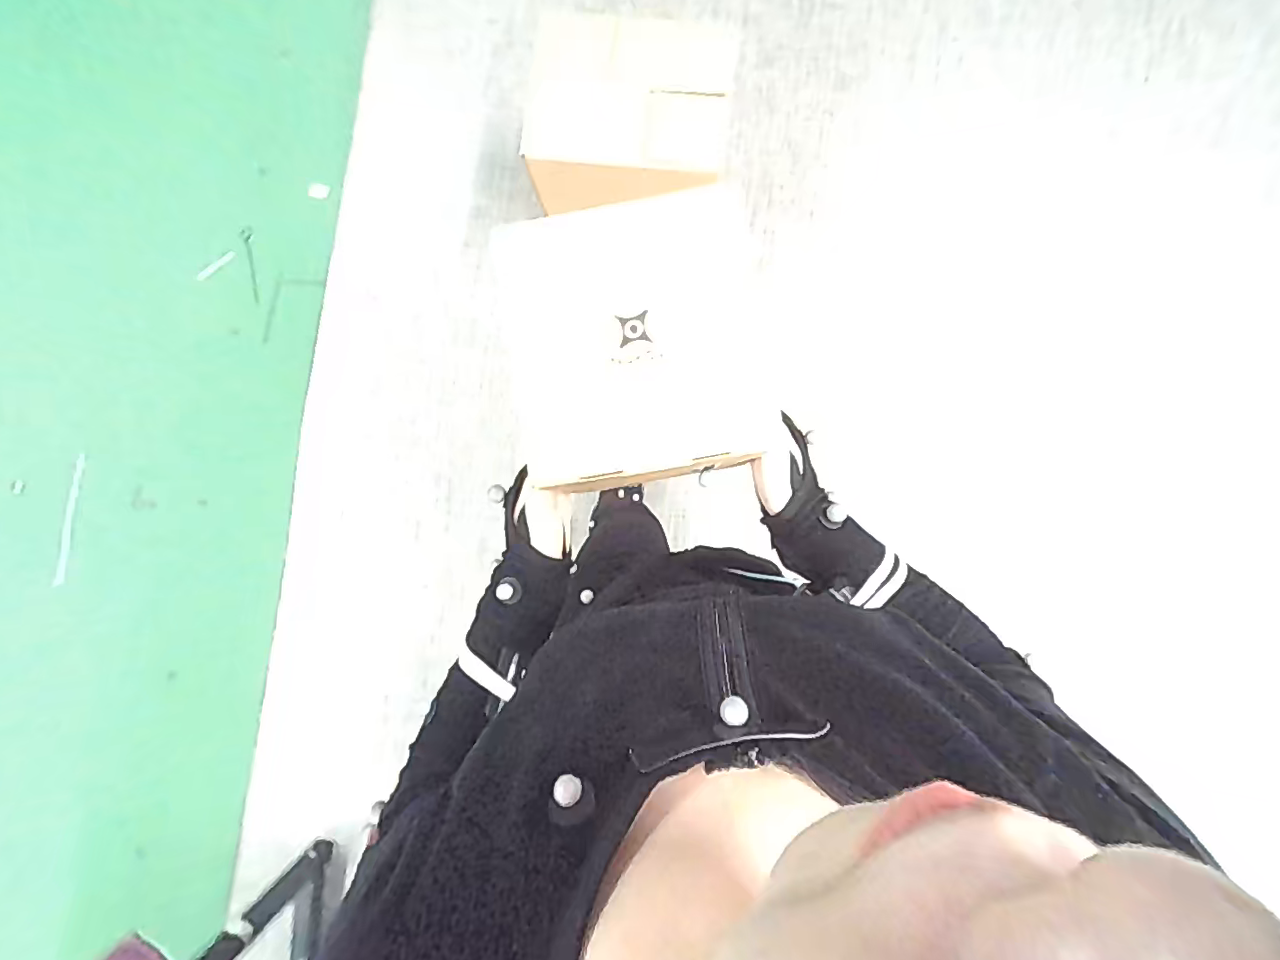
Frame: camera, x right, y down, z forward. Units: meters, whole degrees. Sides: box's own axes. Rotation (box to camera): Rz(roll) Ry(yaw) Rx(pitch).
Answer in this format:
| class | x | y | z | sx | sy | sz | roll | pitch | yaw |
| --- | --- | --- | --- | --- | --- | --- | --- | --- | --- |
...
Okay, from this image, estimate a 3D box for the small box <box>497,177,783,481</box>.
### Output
| class | x | y | z | sx | sy | sz | roll | pitch | yaw |
| --- | --- | --- | --- | --- | --- | --- | --- | --- | --- |
| small box | 0.003 | -0.095 | 0.426 | 0.168 | 0.176 | 0.179 | -9 | 87 | 2 |
